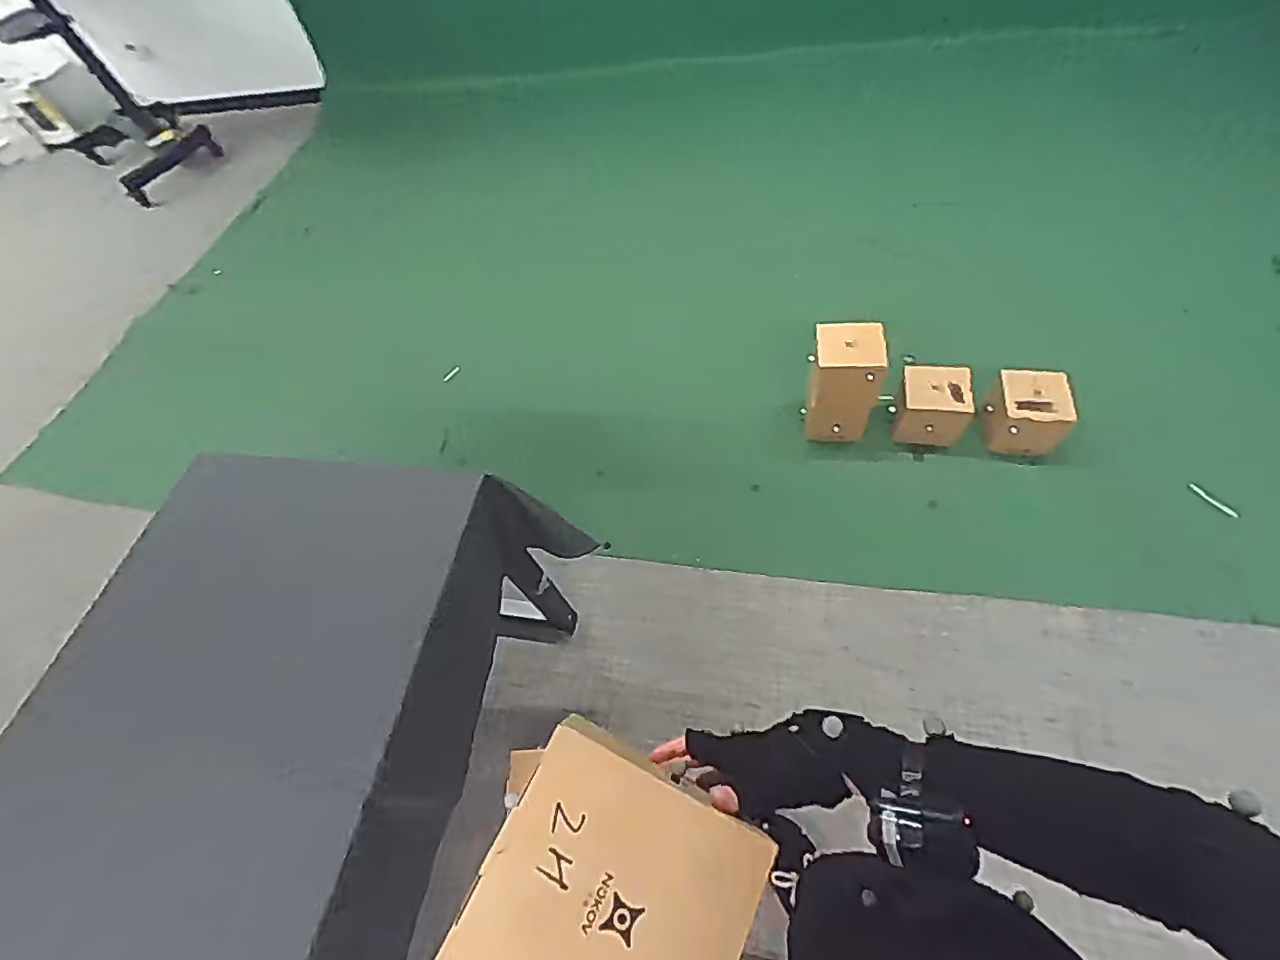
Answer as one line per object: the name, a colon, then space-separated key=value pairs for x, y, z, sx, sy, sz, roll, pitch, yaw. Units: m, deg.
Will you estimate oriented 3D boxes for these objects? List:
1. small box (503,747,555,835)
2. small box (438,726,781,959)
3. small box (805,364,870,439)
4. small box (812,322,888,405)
small box: x=-0.189 y=0.706 z=1.224 sx=0.179 sy=0.176 sz=0.168 roll=-7 pitch=59 yaw=7
small box: x=-0.021 y=0.311 z=0.424 sx=0.179 sy=0.176 sz=0.168 roll=28 pitch=70 yaw=8
small box: x=0.604 y=-0.241 z=1.667 sx=0.168 sy=0.176 sz=0.179 roll=3 pitch=61 yaw=12
small box: x=0.584 y=-0.325 z=1.528 sx=0.179 sy=0.176 sz=0.168 roll=2 pitch=59 yaw=11
